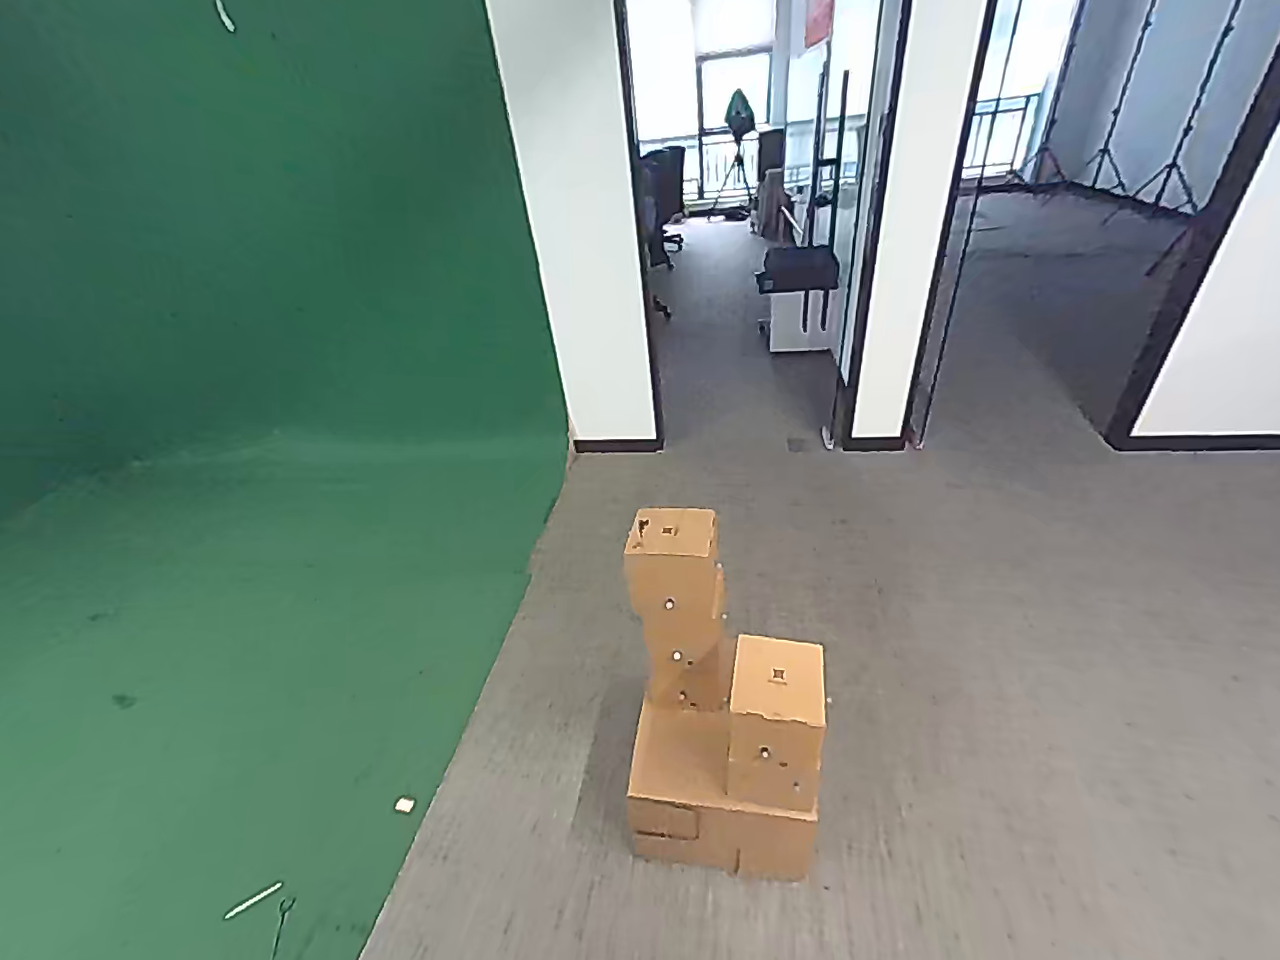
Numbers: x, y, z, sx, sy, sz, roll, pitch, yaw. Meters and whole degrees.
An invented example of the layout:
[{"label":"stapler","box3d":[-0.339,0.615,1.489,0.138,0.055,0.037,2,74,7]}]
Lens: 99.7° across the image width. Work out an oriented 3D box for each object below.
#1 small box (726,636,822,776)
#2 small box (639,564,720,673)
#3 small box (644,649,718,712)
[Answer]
[{"label":"small box","box3d":[0.259,0.437,1.058,0.168,0.176,0.179,4,34,13]},{"label":"small box","box3d":[0.099,0.320,1.267,0.168,0.176,0.179,1,32,13]},{"label":"small box","box3d":[0.110,0.452,1.366,0.168,0.176,0.179,0,31,12]}]
